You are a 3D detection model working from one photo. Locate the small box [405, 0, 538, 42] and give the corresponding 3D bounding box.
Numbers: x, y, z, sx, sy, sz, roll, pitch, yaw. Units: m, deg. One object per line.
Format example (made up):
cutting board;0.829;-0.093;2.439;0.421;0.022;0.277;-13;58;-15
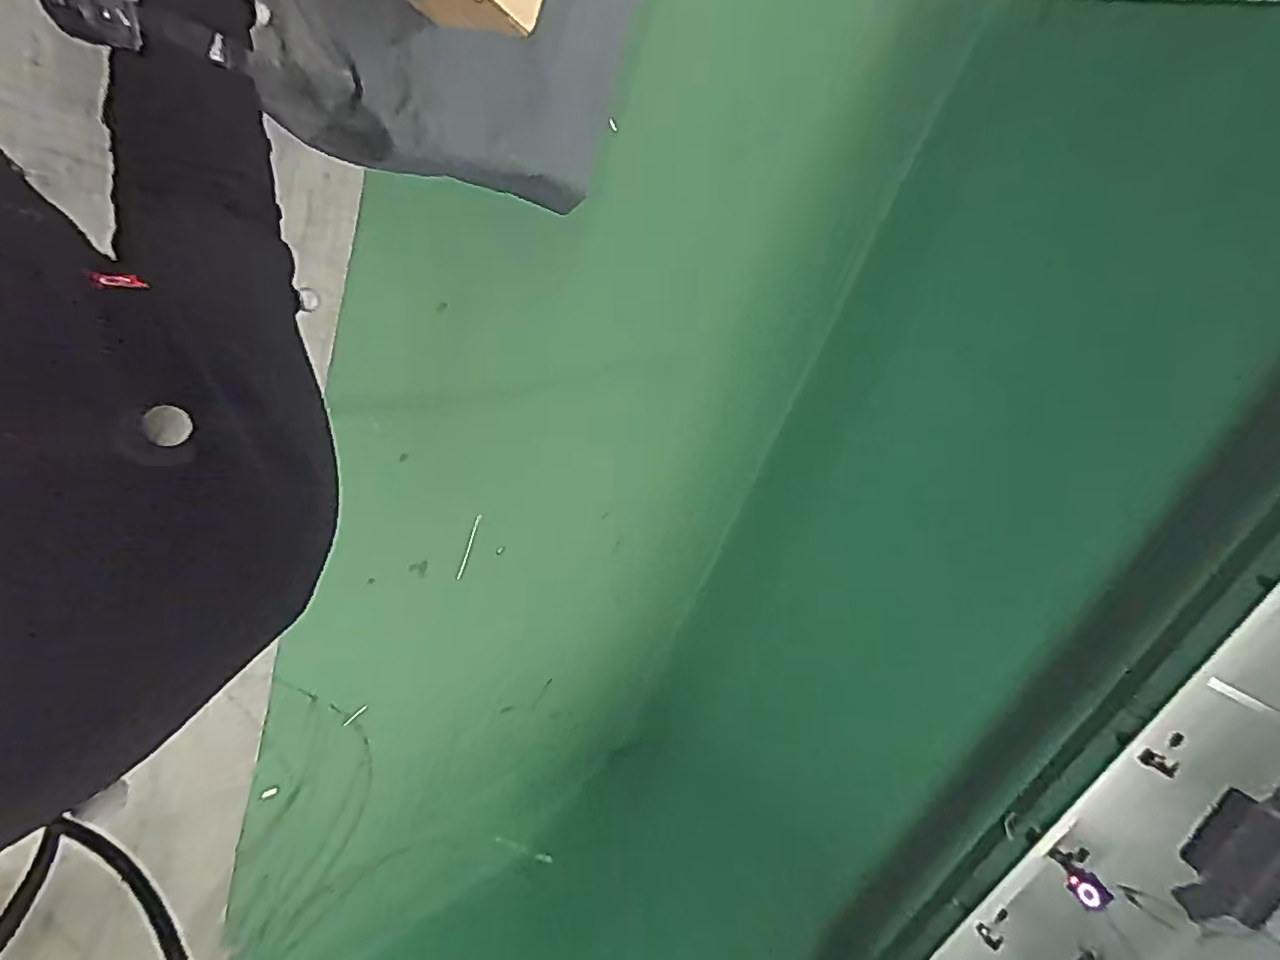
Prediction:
small box;-0.192;-0.569;0.515;0.168;0.176;0.179;-2;120;-55
